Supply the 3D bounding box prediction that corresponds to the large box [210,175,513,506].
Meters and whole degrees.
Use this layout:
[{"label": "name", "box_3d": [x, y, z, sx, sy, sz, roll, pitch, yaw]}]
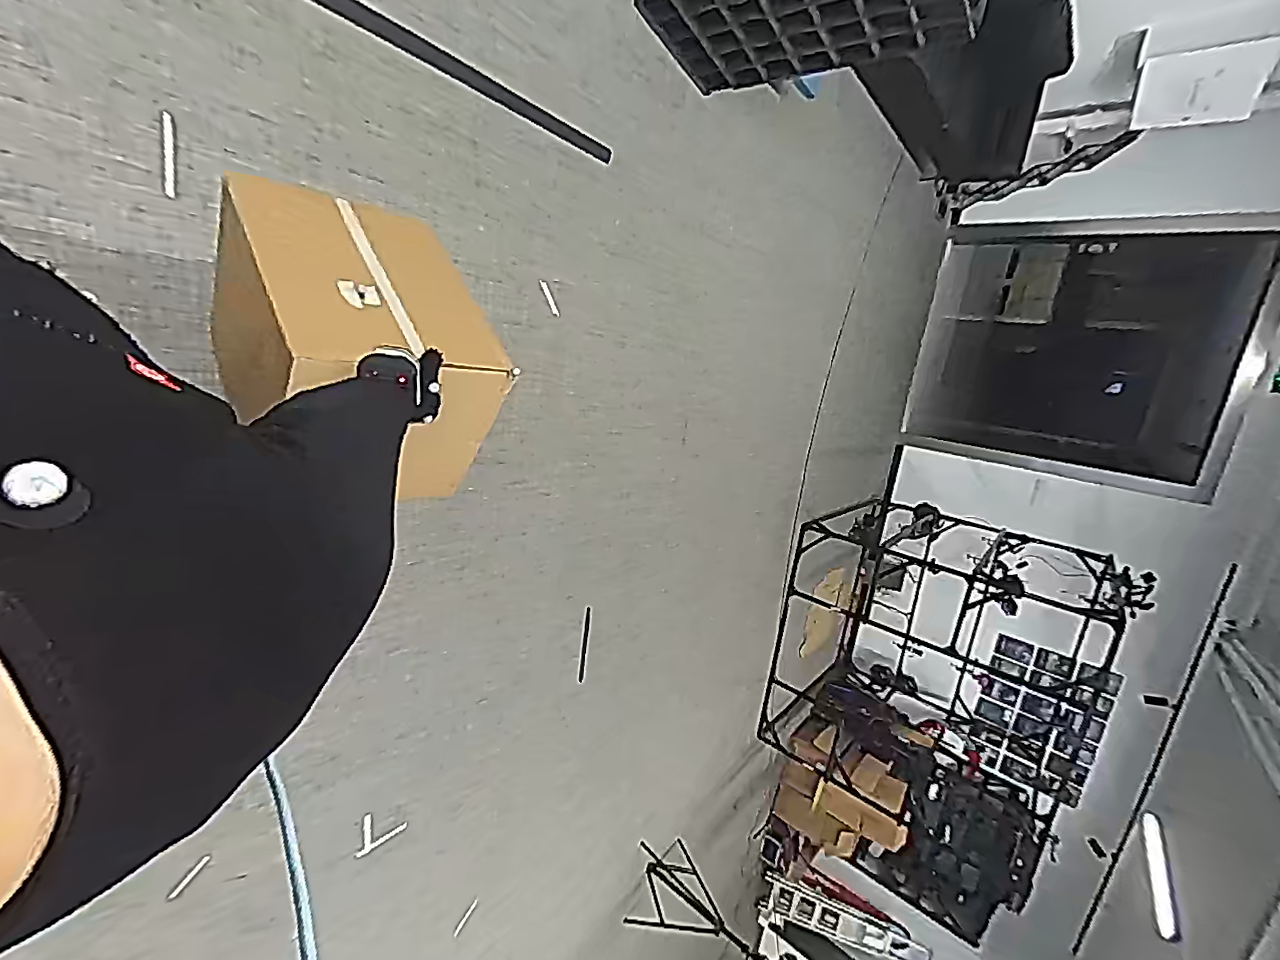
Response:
[{"label": "large box", "box_3d": [-0.486, -0.217, 0.918, 0.320, 0.408, 0.320, -8, 148, -46]}]
